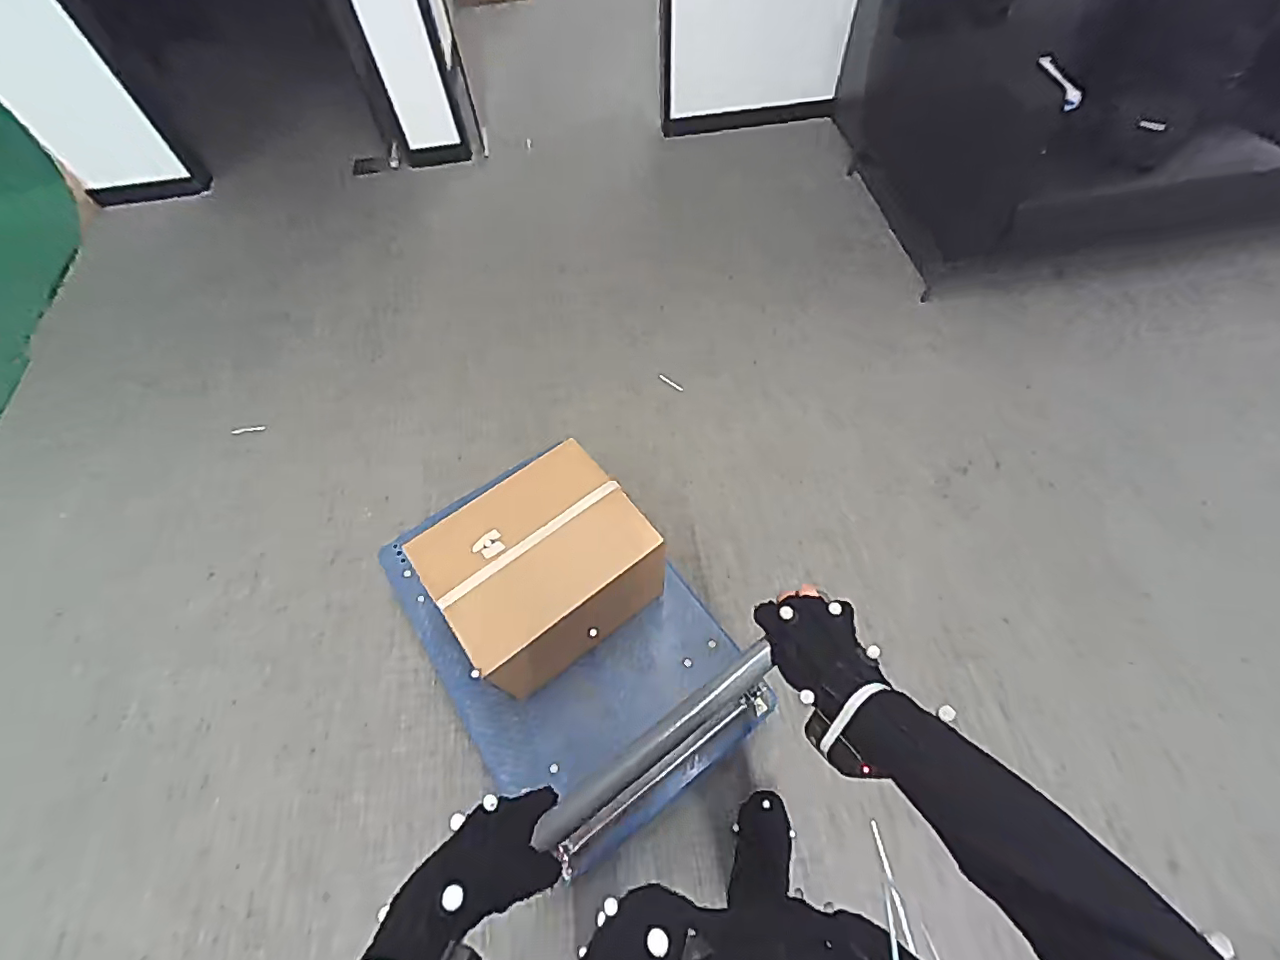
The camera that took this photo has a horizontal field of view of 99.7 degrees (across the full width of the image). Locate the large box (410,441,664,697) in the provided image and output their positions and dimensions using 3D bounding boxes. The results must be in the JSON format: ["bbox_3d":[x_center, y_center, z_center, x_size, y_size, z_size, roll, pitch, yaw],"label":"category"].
[{"bbox_3d":[-0.194,0.198,1.169,0.408,0.320,0.320,-36,65,-16],"label":"large box"}]
